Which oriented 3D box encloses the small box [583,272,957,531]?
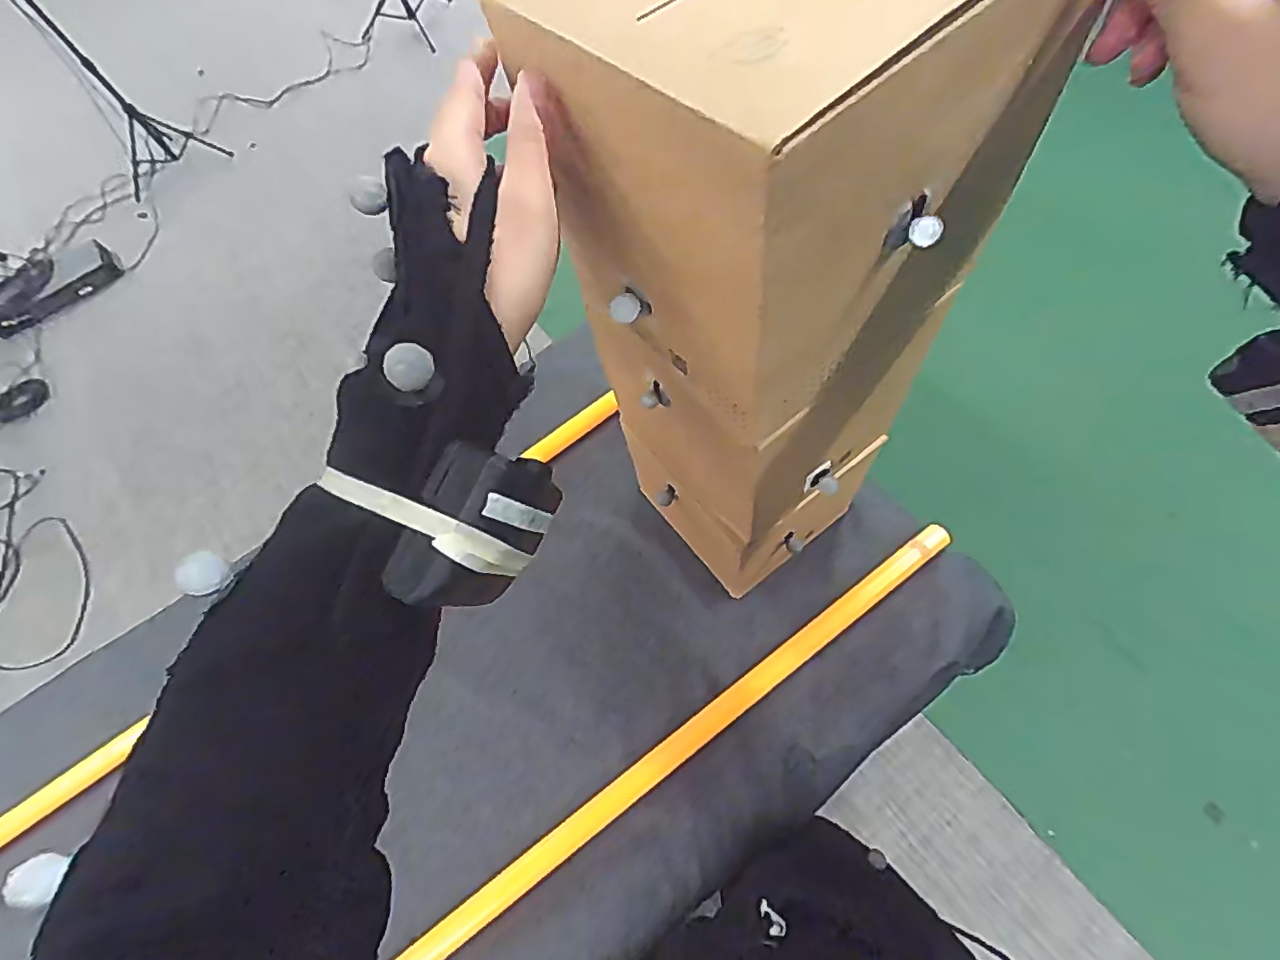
[{"bbox_3d":[0.086,-0.090,0.413,0.168,0.176,0.179,-39,65,-9],"label":"small box"}]

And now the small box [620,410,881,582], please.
[{"bbox_3d":[0.106,-0.014,0.556,0.168,0.176,0.179,-37,64,-9],"label":"small box"}]

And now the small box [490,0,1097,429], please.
[{"bbox_3d":[0.063,-0.161,0.266,0.179,0.176,0.168,-39,63,-8],"label":"small box"}]
